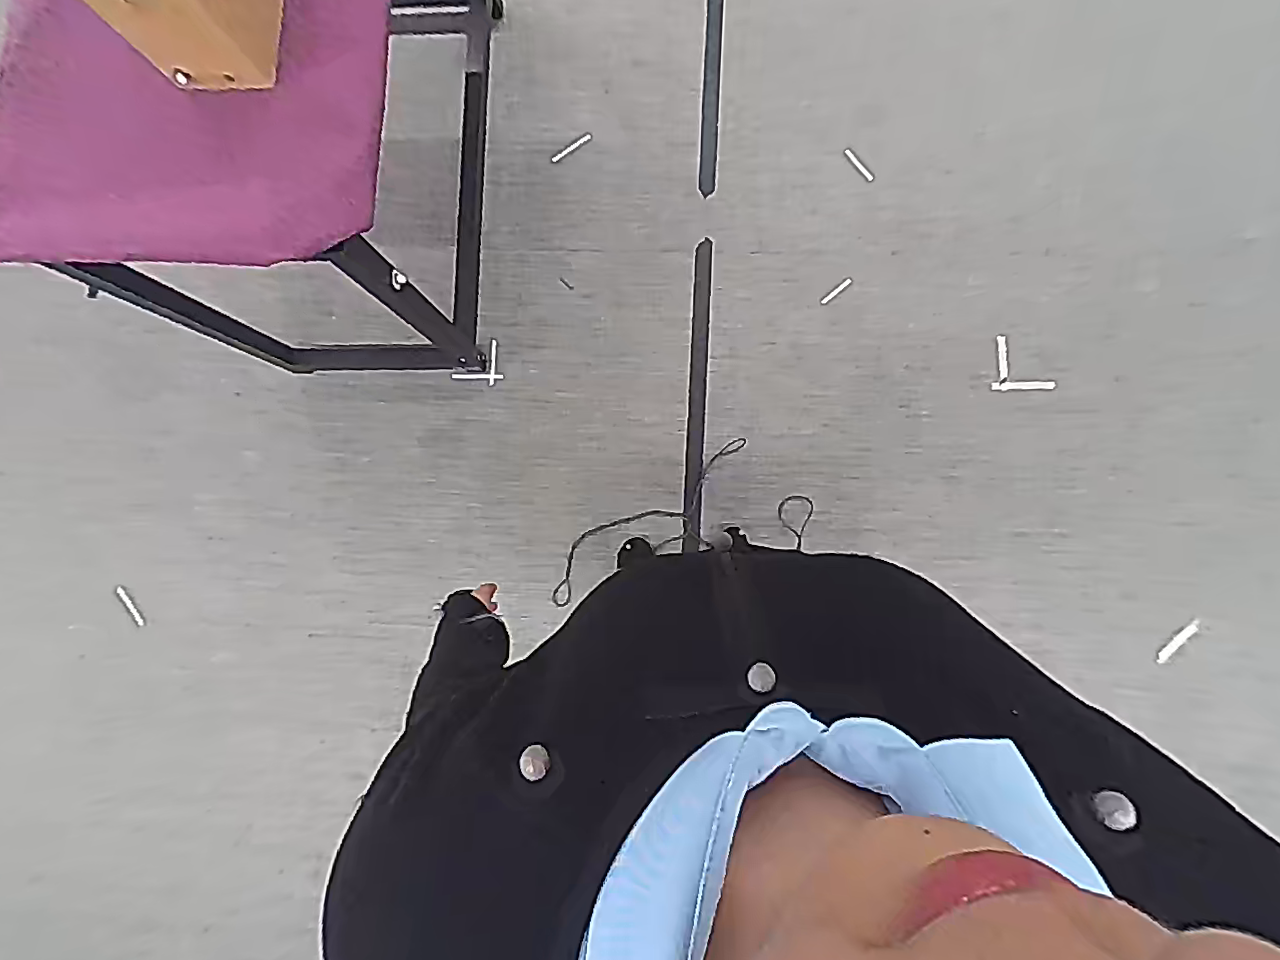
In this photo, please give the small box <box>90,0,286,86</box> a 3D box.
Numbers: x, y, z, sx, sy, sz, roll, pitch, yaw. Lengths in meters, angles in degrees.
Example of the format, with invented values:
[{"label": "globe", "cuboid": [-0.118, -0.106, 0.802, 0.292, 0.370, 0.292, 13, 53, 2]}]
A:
[{"label": "small box", "cuboid": [-0.674, -0.739, 0.819, 0.168, 0.176, 0.179, 2, 84, 2]}]
